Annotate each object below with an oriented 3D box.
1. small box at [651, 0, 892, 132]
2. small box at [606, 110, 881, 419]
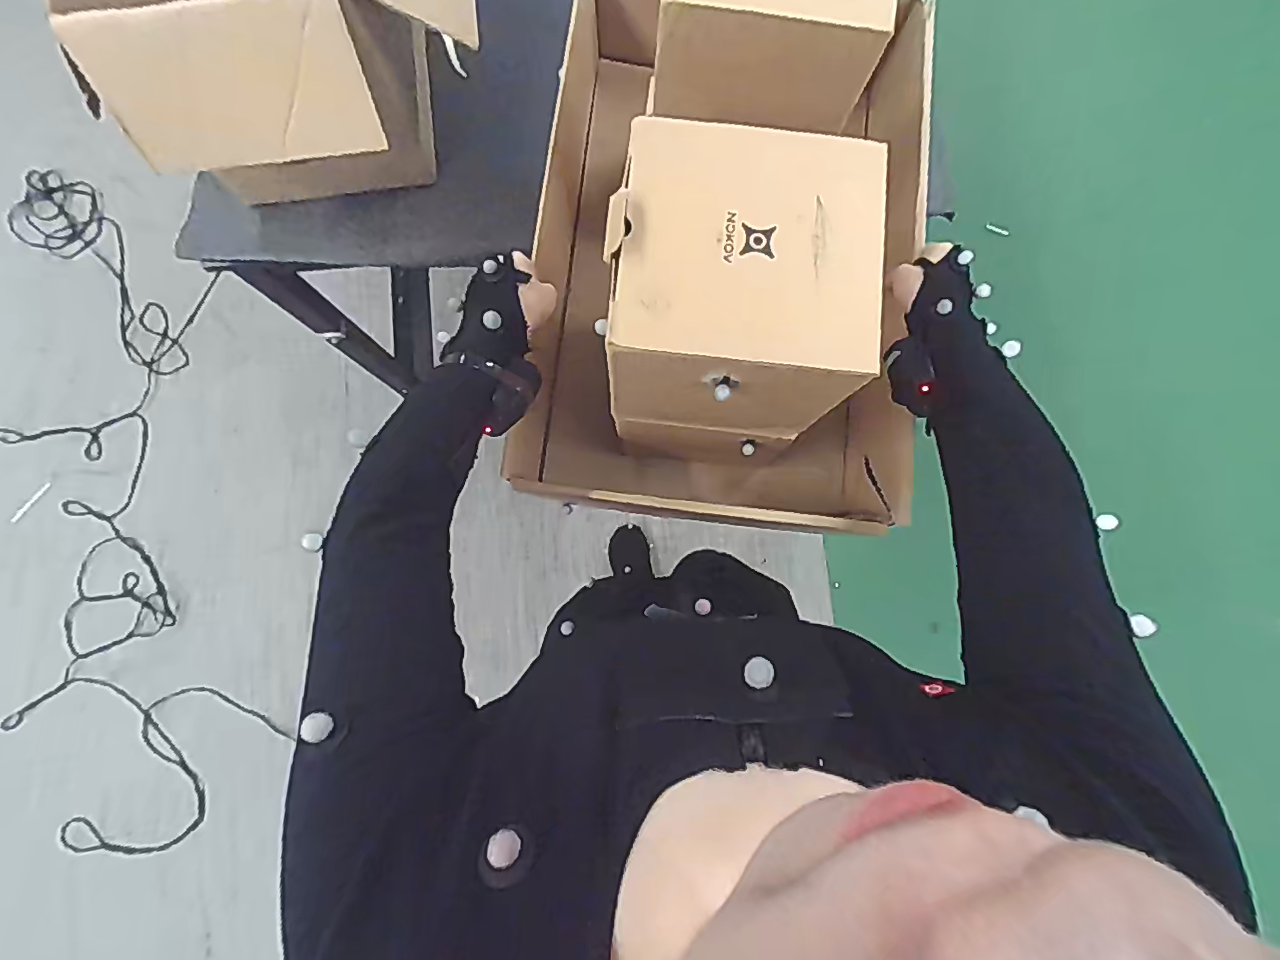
[{"bbox_3d":[0.103,-0.403,0.466,0.168,0.176,0.179,8,86,-2],"label":"small box"},{"bbox_3d":[0.069,-0.153,0.440,0.179,0.176,0.168,6,82,-2],"label":"small box"}]
